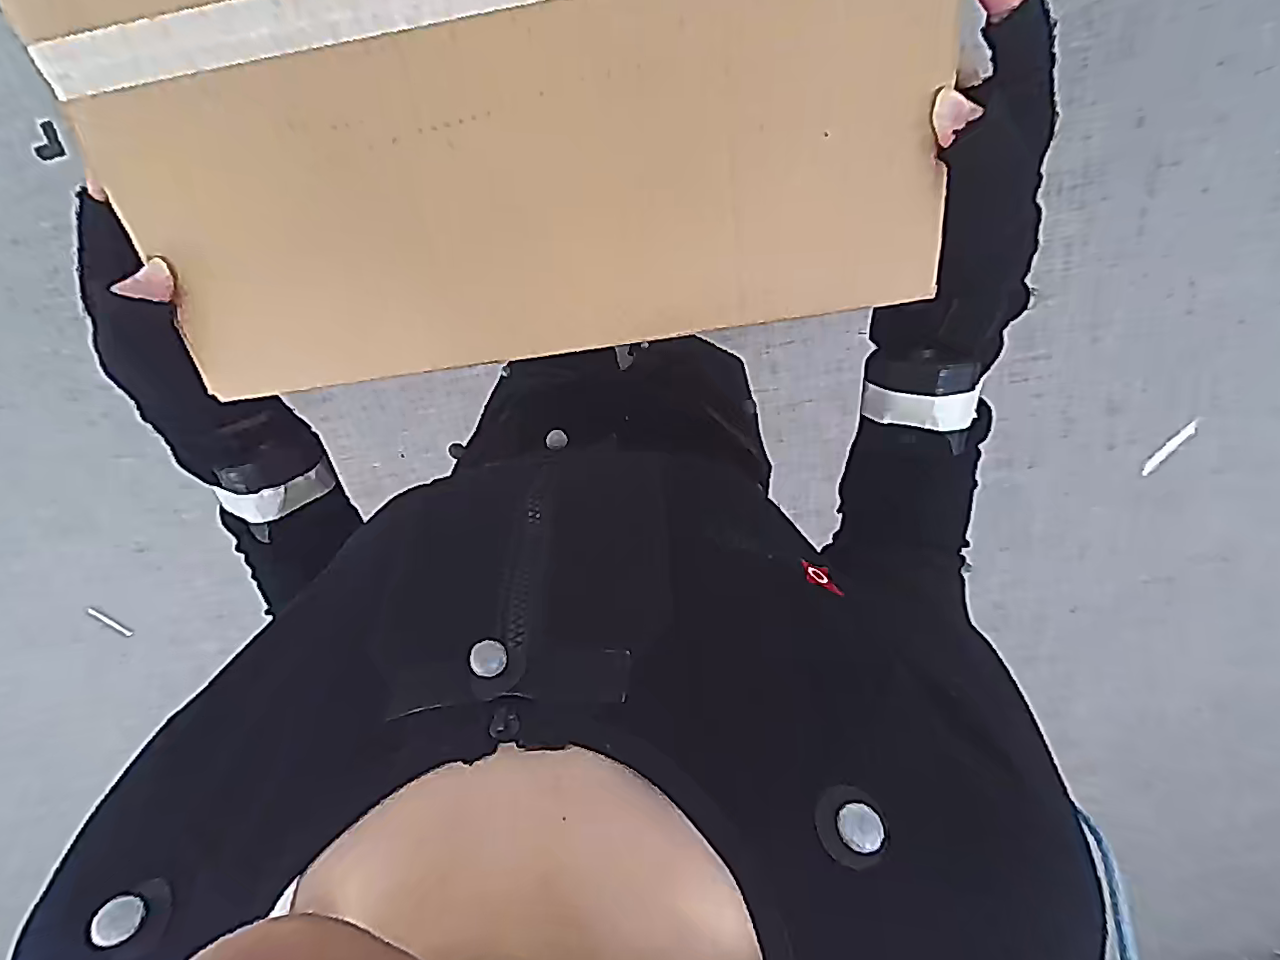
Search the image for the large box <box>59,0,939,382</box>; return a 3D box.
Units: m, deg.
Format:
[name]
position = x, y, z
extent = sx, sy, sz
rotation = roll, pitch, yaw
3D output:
[large box]
position = -0.066, -0.284, 0.377
extent = 0.408, 0.320, 0.320
rotation = -7, 116, 5
